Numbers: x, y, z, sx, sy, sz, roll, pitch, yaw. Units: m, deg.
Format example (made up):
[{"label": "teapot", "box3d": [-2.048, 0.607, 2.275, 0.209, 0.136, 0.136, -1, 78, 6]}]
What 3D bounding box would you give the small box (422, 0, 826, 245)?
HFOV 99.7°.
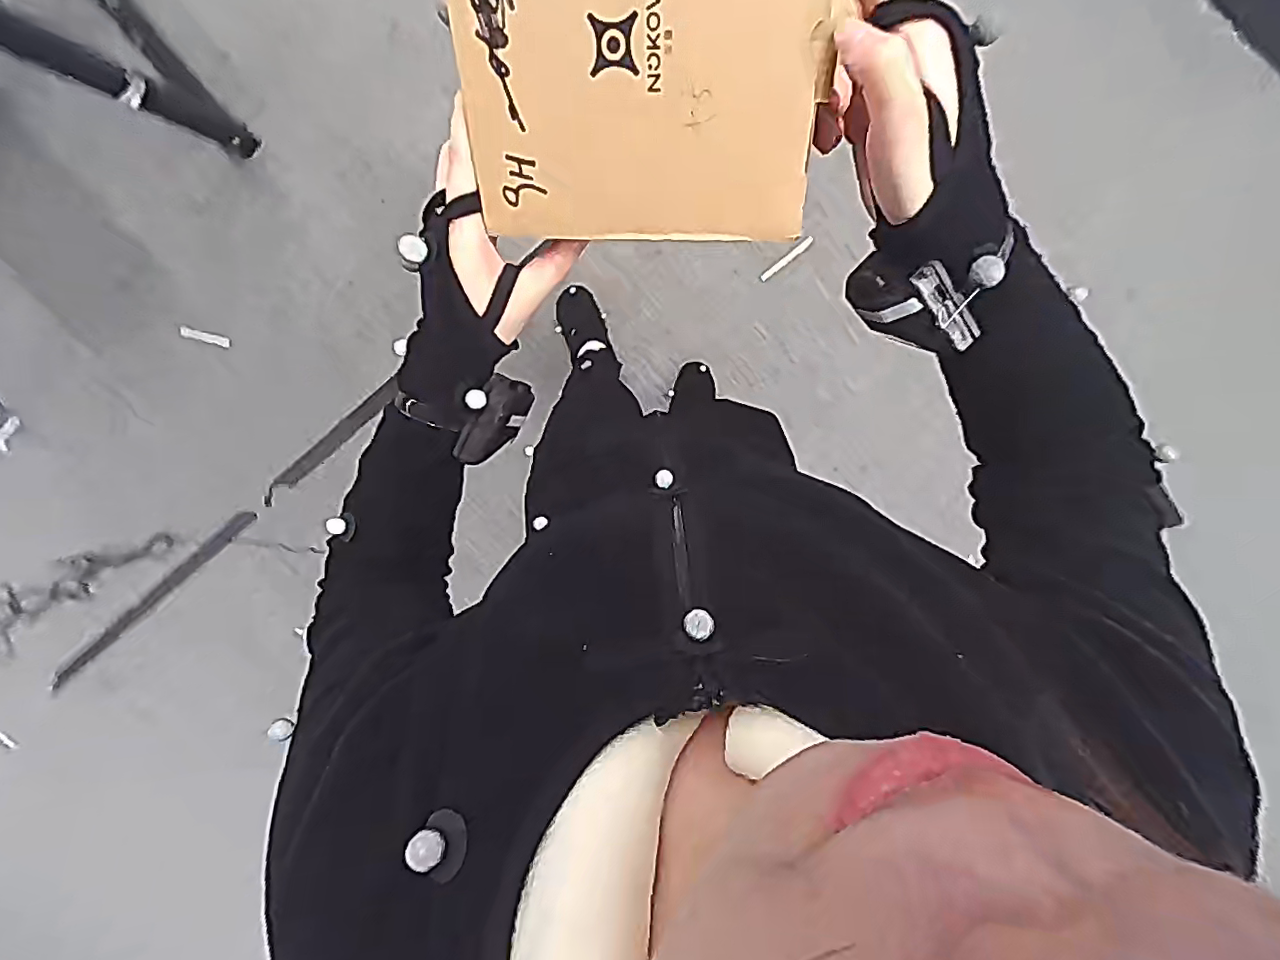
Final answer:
[{"label": "small box", "box3d": [0.000, -0.238, 0.302, 0.179, 0.176, 0.168, 3, 126, 7]}]
